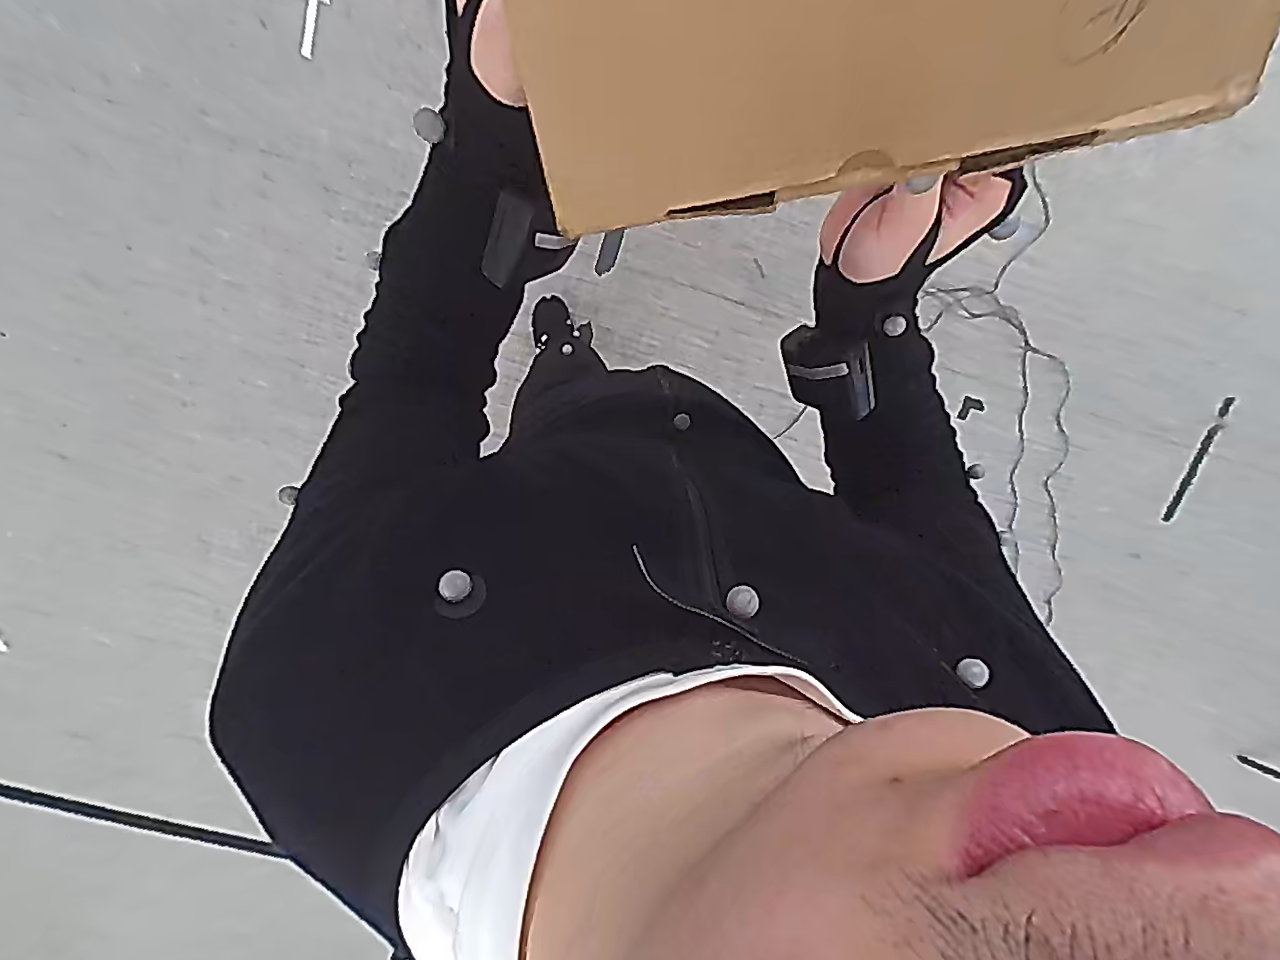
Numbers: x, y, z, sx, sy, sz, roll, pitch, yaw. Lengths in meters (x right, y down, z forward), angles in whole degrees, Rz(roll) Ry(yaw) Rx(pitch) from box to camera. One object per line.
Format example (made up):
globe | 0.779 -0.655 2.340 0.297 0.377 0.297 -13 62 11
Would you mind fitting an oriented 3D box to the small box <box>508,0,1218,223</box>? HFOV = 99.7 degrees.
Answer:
small box | 0.049 -0.200 0.171 0.168 0.176 0.179 -6 121 11
